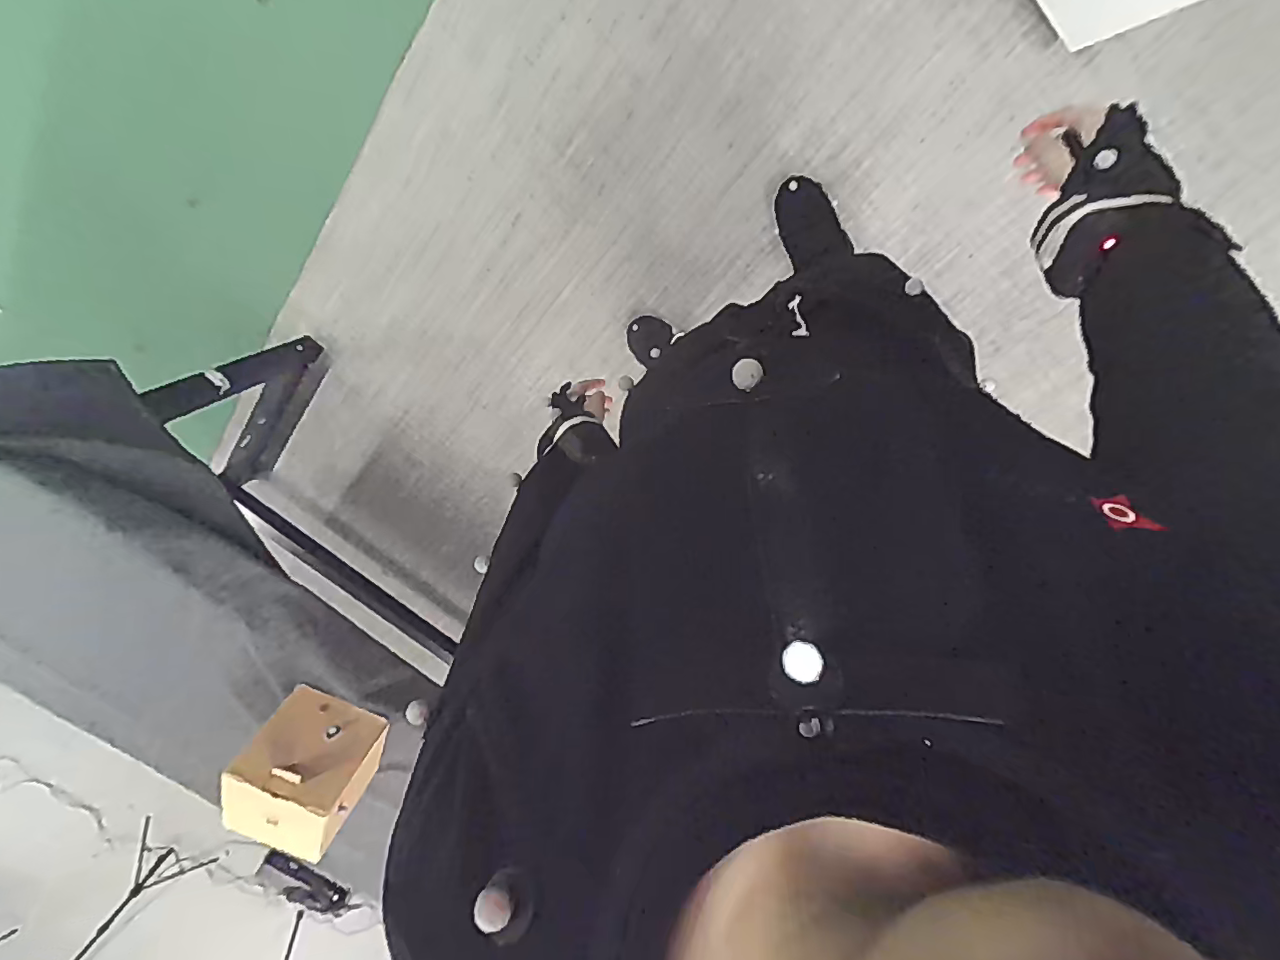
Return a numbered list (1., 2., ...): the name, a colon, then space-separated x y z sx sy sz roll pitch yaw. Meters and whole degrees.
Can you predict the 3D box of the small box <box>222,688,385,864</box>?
1. small box: -0.554 0.491 0.907 0.168 0.176 0.179 24 121 -3
